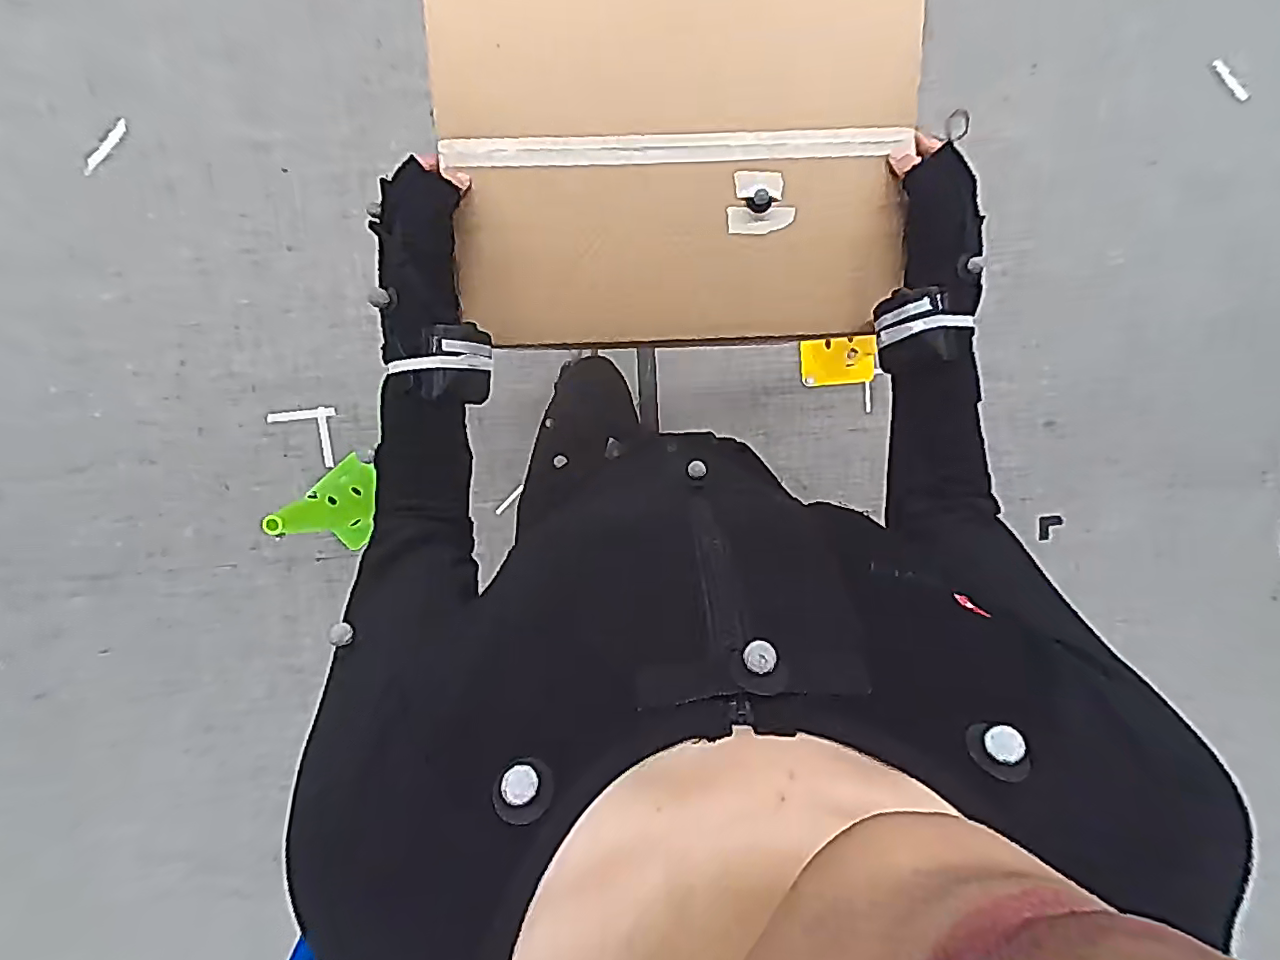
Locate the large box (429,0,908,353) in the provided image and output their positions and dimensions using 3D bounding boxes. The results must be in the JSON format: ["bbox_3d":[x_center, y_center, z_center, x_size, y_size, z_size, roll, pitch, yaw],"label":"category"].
[{"bbox_3d":[0.023,-0.317,0.613,0.408,0.320,0.320,-3,103,-3],"label":"large box"}]

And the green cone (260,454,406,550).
[{"bbox_3d":[-0.751,0.077,1.270,0.202,0.368,0.200,-41,95,3],"label":"green cone"}]
